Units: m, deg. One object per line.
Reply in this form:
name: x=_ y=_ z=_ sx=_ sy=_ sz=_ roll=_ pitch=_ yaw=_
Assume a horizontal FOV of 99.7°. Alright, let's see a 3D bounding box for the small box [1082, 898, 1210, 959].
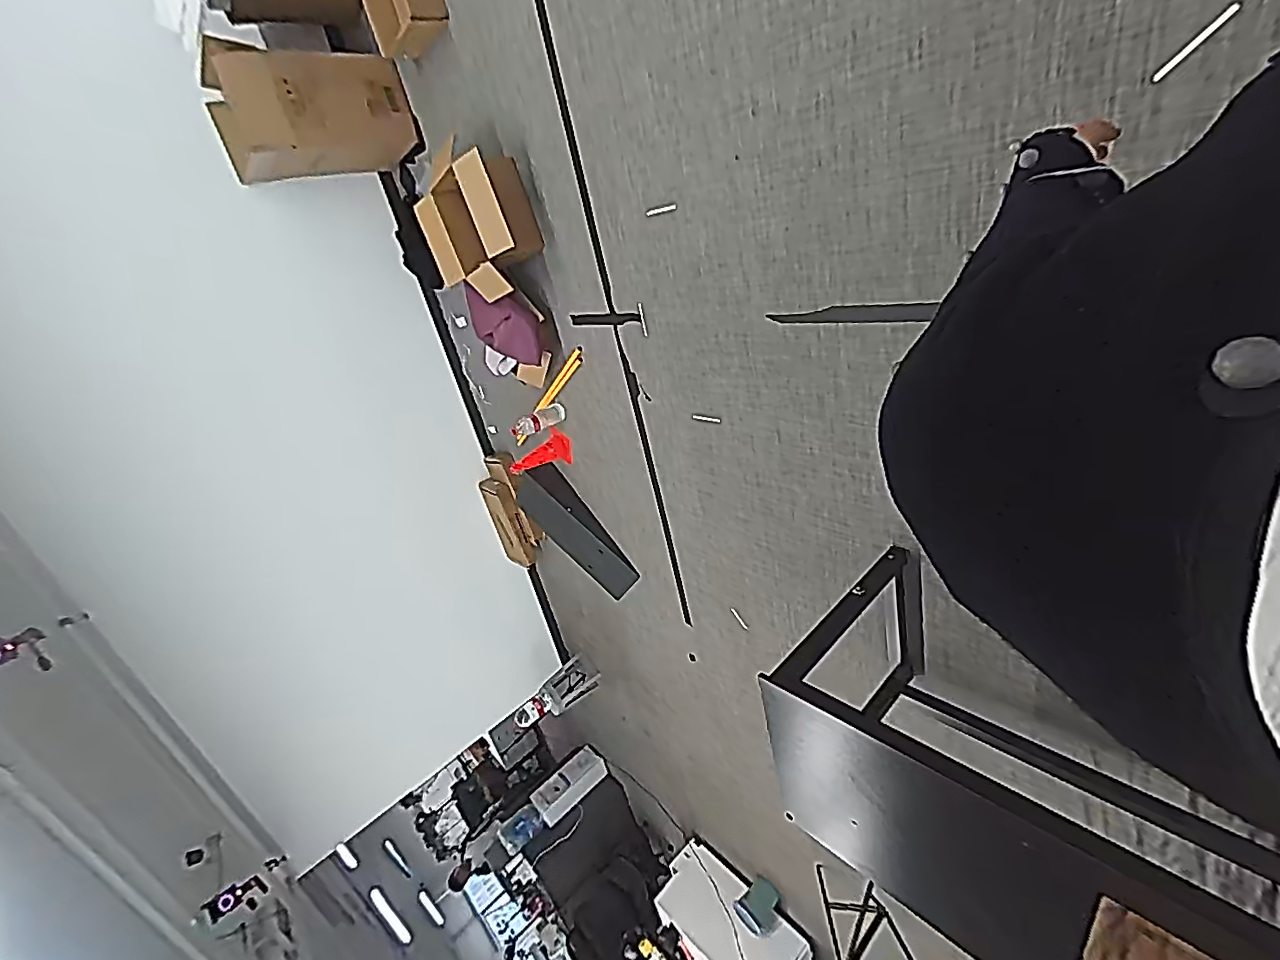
small box: x=0.818 y=0.838 z=0.871 sx=0.168 sy=0.176 sz=0.179 roll=16 pitch=128 yaw=48
